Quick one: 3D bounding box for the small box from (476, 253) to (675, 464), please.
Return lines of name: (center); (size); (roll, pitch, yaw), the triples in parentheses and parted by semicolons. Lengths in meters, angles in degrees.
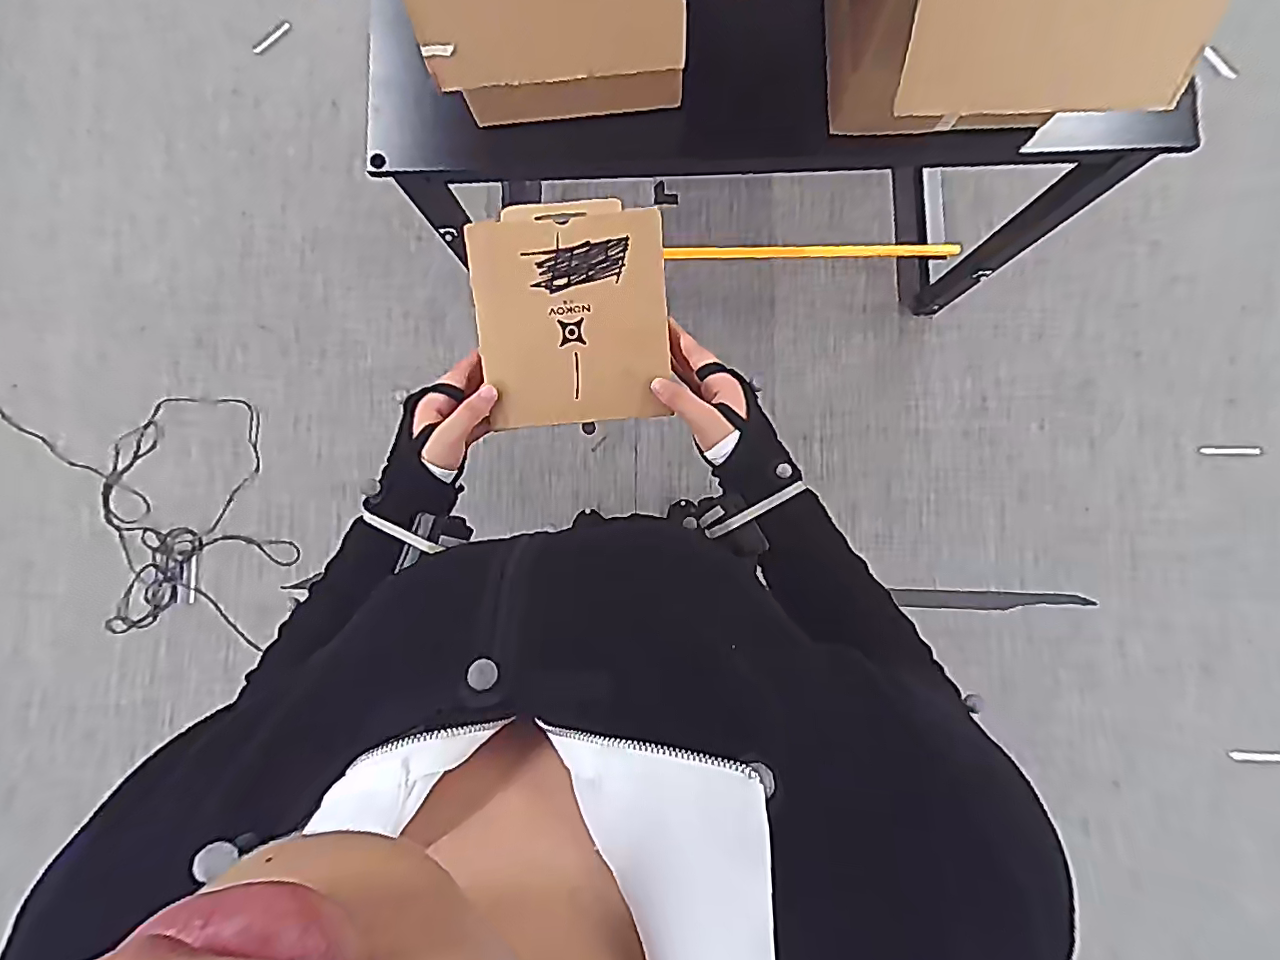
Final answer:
small box: (-0.056, -0.117, 0.556); (0.168, 0.176, 0.179); (-5, 100, 0)
